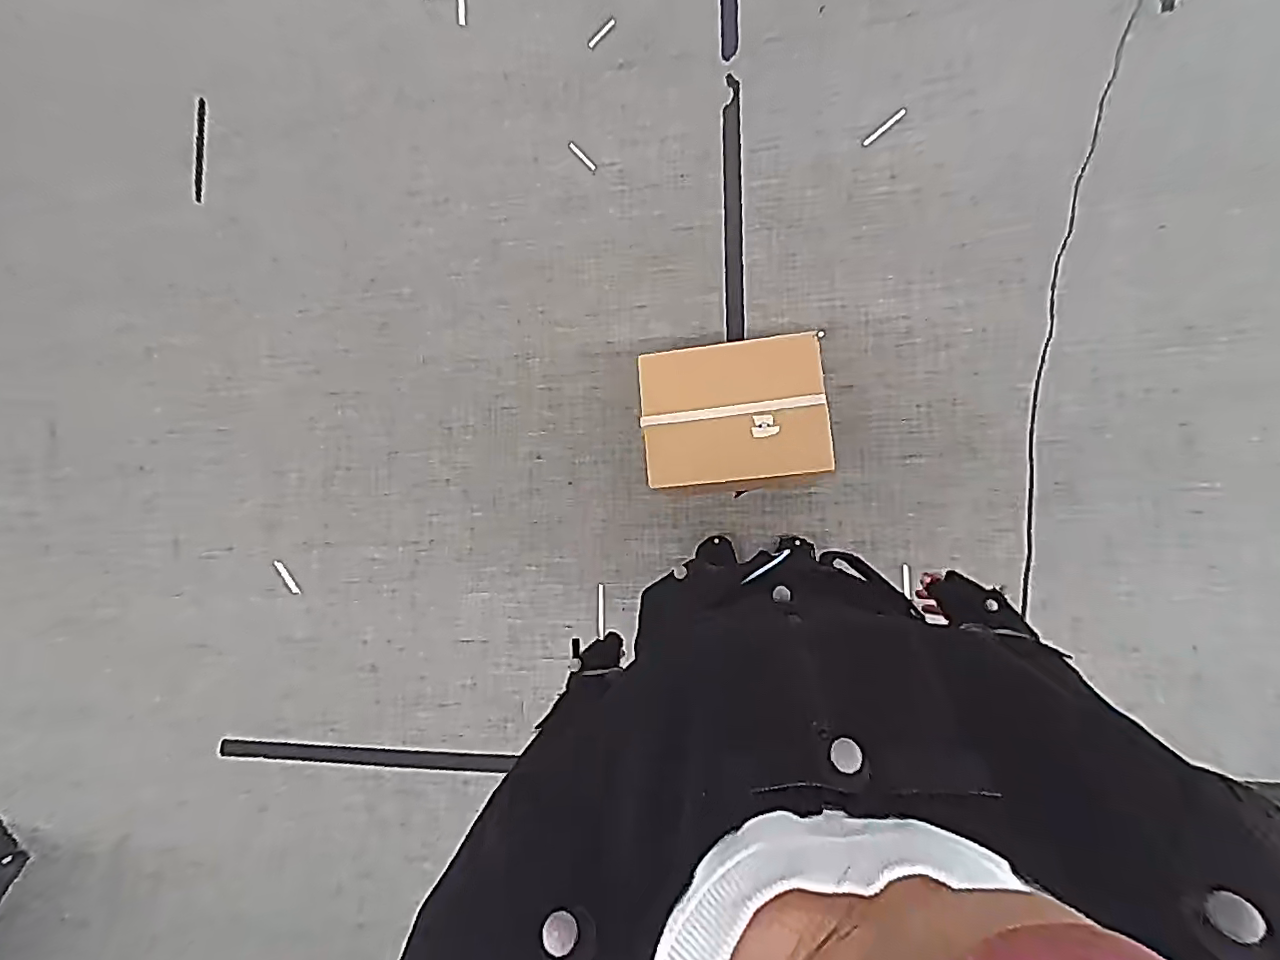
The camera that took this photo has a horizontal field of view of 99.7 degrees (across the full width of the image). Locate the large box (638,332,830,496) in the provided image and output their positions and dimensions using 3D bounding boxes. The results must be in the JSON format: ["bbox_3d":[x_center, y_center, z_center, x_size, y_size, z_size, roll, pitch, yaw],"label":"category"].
[{"bbox_3d":[0.228,-0.142,1.362,0.408,0.320,0.320,-6,84,9],"label":"large box"}]
